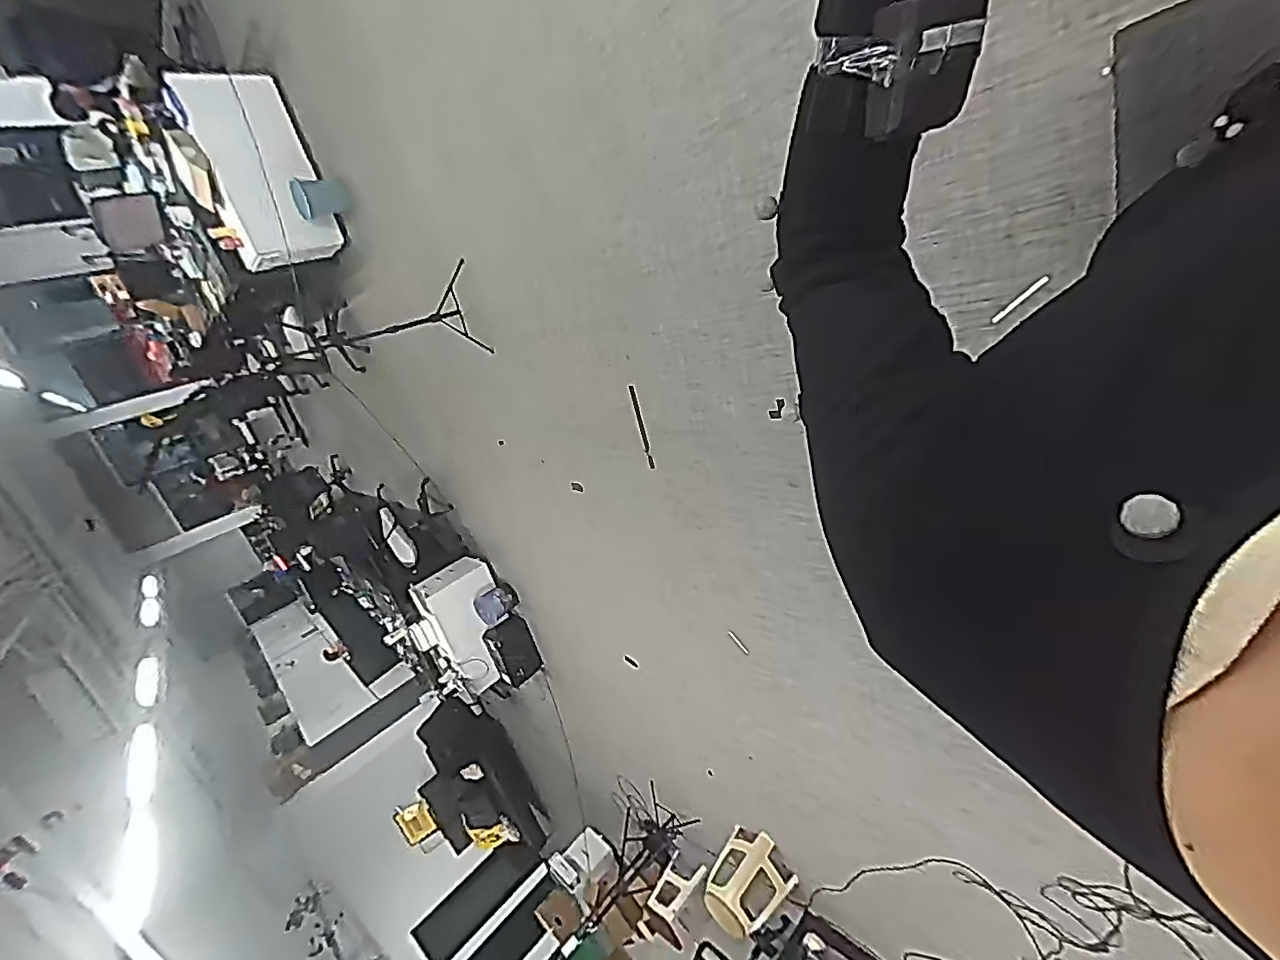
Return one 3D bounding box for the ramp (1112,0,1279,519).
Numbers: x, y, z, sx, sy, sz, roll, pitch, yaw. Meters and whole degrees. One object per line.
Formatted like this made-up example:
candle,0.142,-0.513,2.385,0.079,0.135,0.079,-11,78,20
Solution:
ramp,1.122,-0.323,0.901,0.509,0.206,0.991,3,118,48
